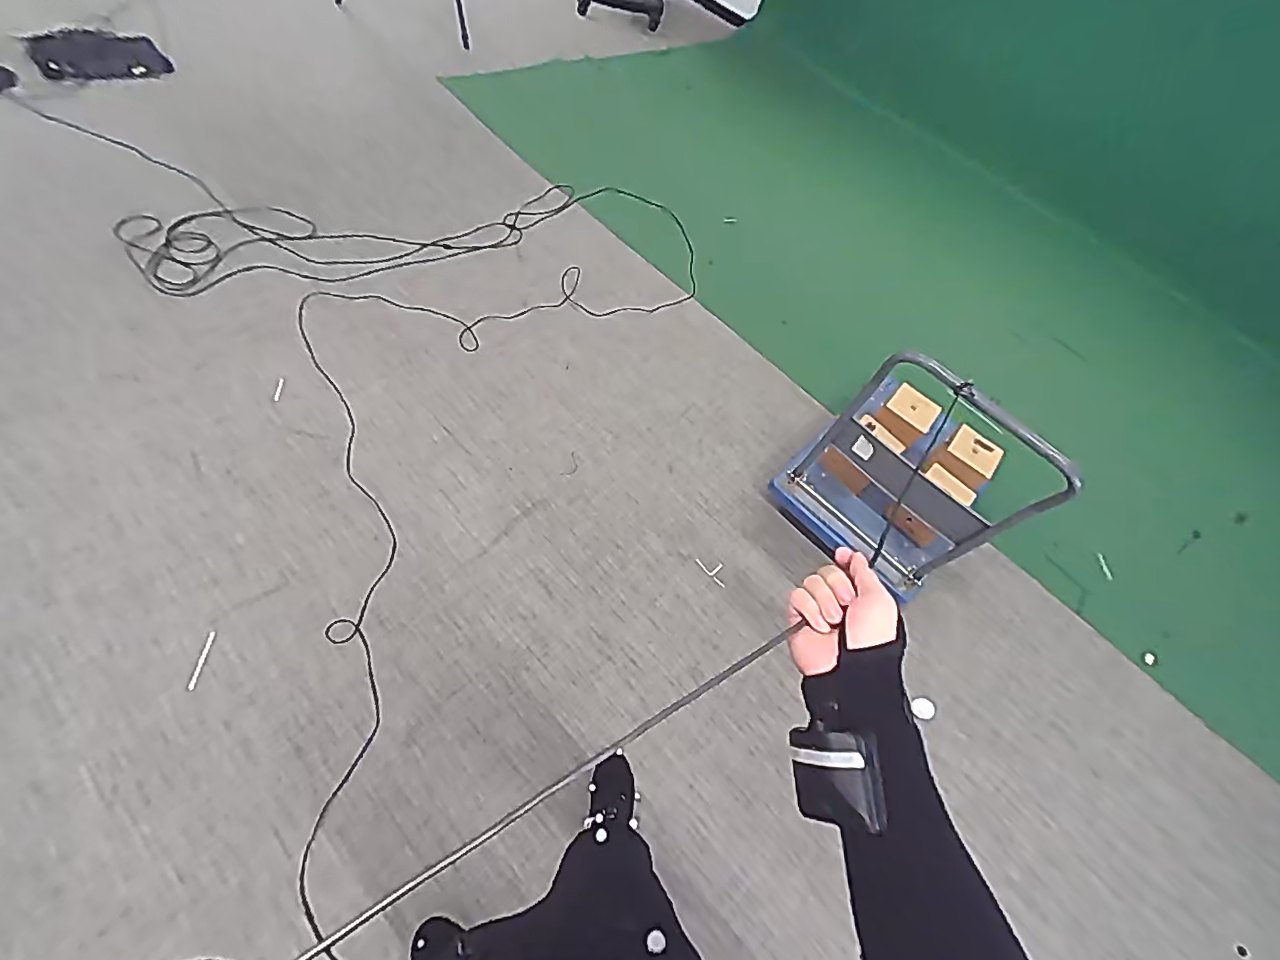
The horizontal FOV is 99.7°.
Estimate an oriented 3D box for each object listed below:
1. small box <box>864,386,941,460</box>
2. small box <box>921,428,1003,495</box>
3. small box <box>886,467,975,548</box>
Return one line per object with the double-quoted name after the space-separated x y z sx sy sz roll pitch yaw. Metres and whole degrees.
0.963 -0.207 1.998 0.168 0.176 0.179 41 58 12 "small box"
1.150 -0.048 1.943 0.168 0.176 0.179 40 58 13 "small box"
0.964 0.093 1.807 0.179 0.176 0.168 -36 72 -29 "small box"
